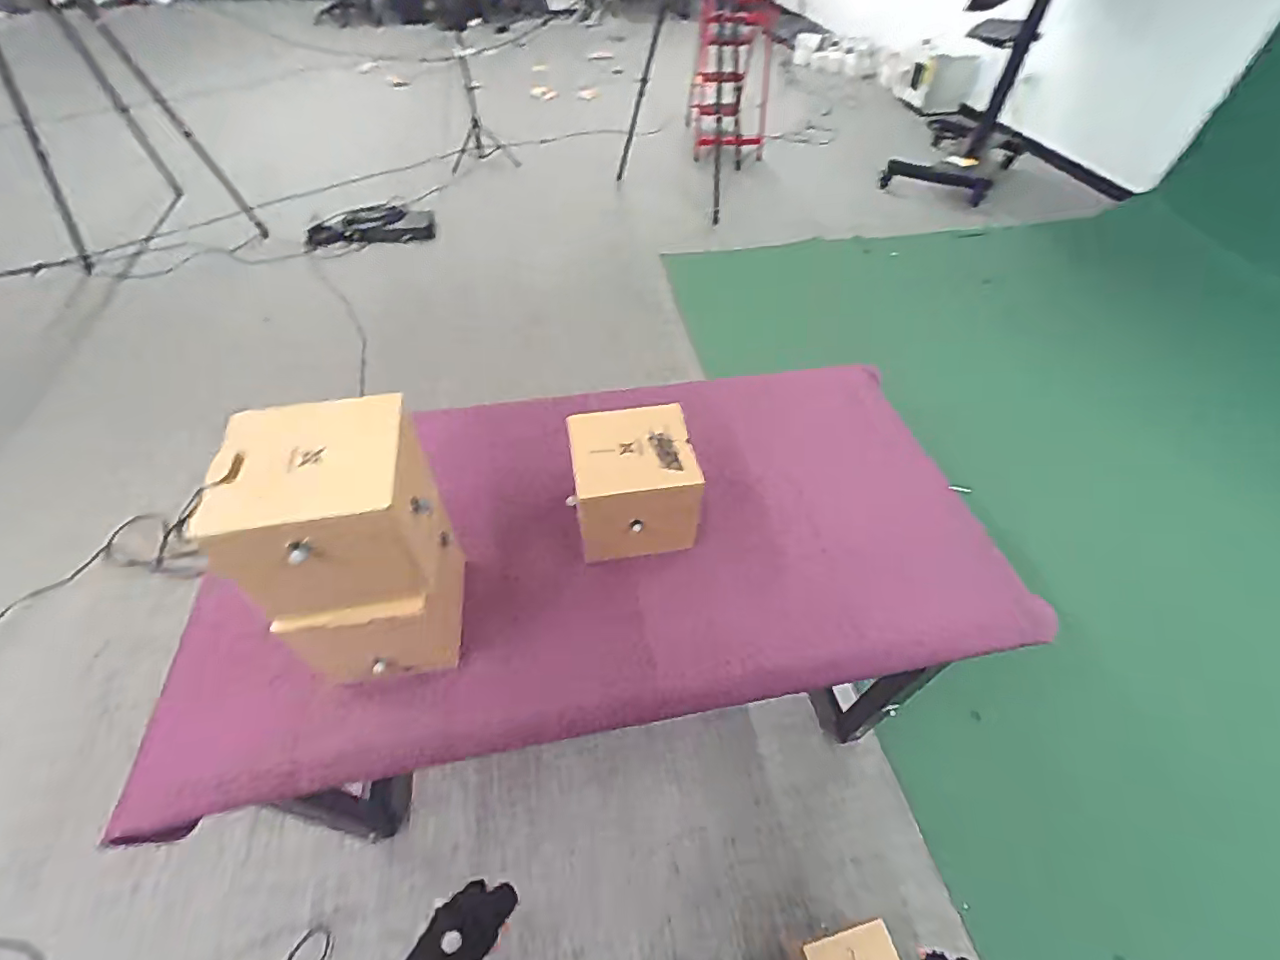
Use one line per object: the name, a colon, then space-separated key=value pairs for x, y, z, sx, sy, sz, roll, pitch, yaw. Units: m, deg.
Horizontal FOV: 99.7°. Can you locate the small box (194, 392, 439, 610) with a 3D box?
small box: x=-0.332 y=0.026 z=0.604 sx=0.179 sy=0.176 sz=0.168 roll=-8 pitch=51 yaw=-9

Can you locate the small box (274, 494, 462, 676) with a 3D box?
small box: x=-0.341 y=0.139 z=0.721 sx=0.168 sy=0.176 sz=0.179 roll=-5 pitch=51 yaw=-7

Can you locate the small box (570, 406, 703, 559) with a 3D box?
small box: x=-0.013 y=0.006 z=0.848 sx=0.179 sy=0.176 sz=0.168 roll=-7 pitch=51 yaw=-7
